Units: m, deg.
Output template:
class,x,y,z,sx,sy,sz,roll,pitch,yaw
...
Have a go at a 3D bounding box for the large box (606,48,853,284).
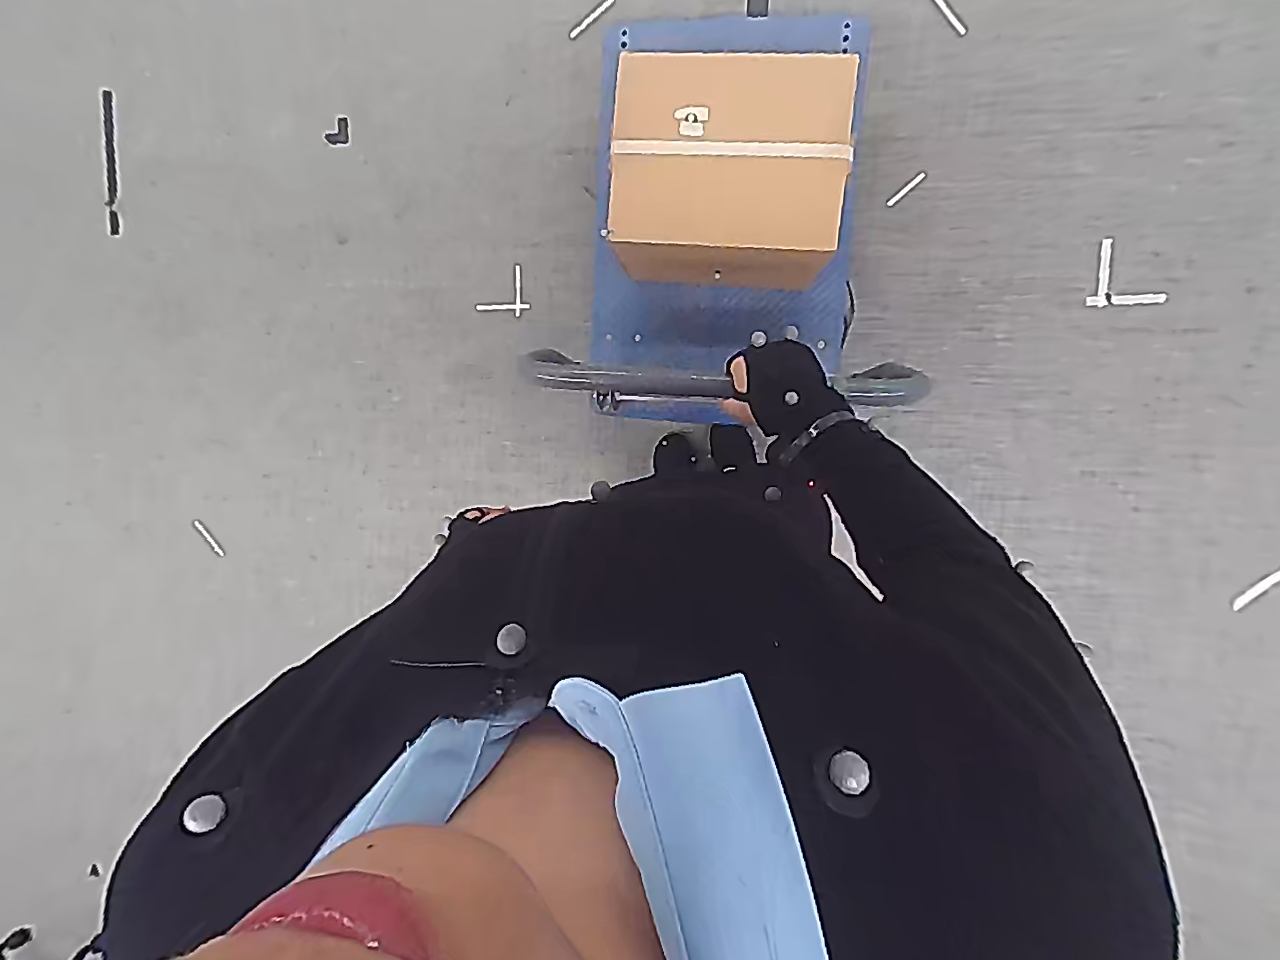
class,x,y,z,sx,sy,sz,roll,pitch,yaw
large box,0.166,-0.581,1.066,0.408,0.320,0.320,5,97,8
